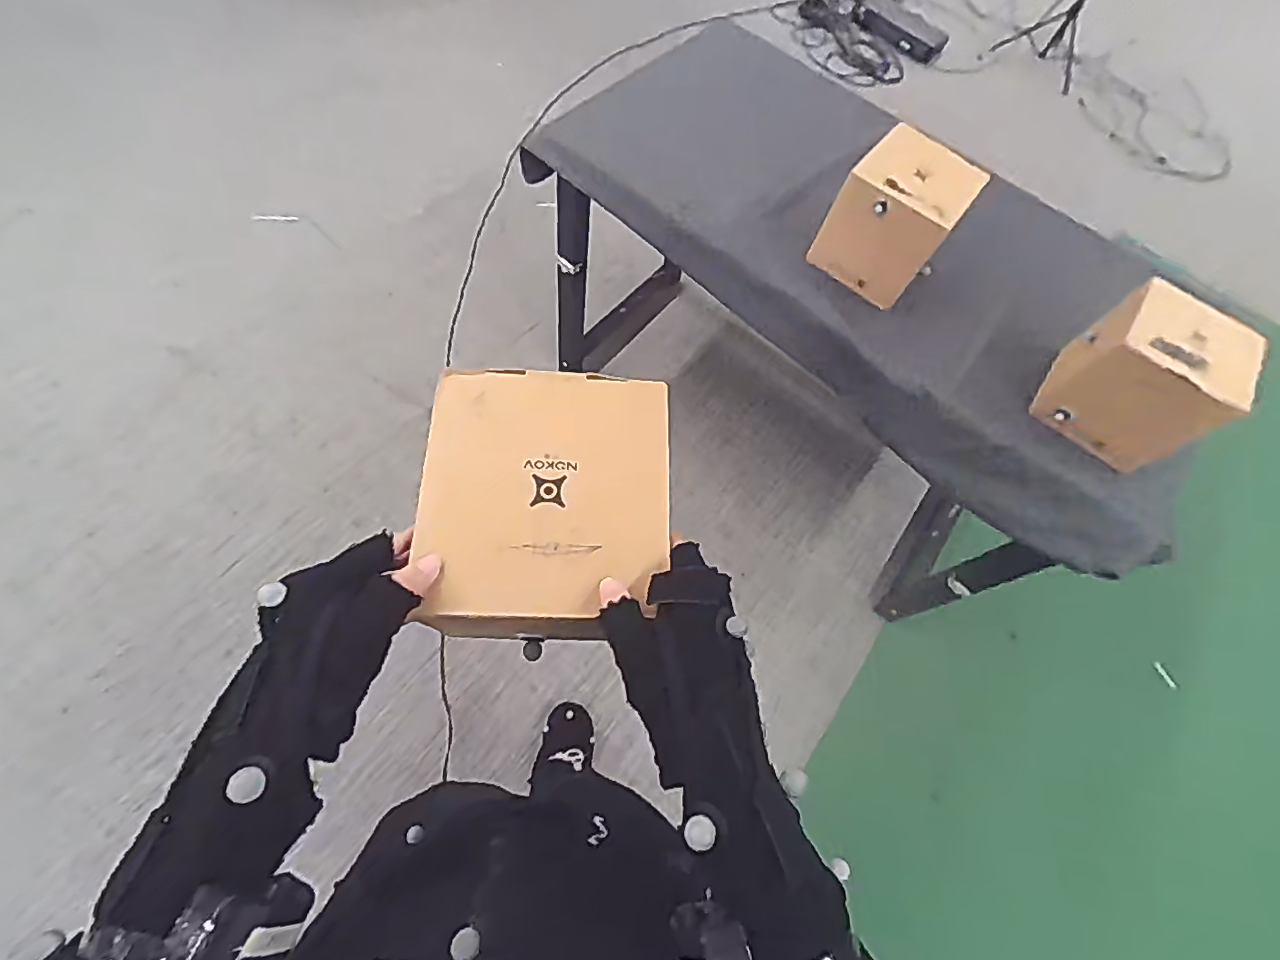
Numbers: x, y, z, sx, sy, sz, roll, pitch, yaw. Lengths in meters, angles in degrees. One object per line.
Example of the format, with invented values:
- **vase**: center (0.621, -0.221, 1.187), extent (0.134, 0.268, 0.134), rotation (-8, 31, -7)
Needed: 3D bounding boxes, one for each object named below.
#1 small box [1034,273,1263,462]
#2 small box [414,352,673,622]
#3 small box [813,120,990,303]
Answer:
- **small box**: center (0.733, -0.158, 0.798), extent (0.168, 0.176, 0.179), rotation (39, 65, 11)
- **small box**: center (-0.068, 0.018, 0.444), extent (0.168, 0.176, 0.179), rotation (2, 71, -6)
- **small box**: center (0.412, -0.429, 0.877), extent (0.168, 0.176, 0.179), rotation (38, 65, 10)
